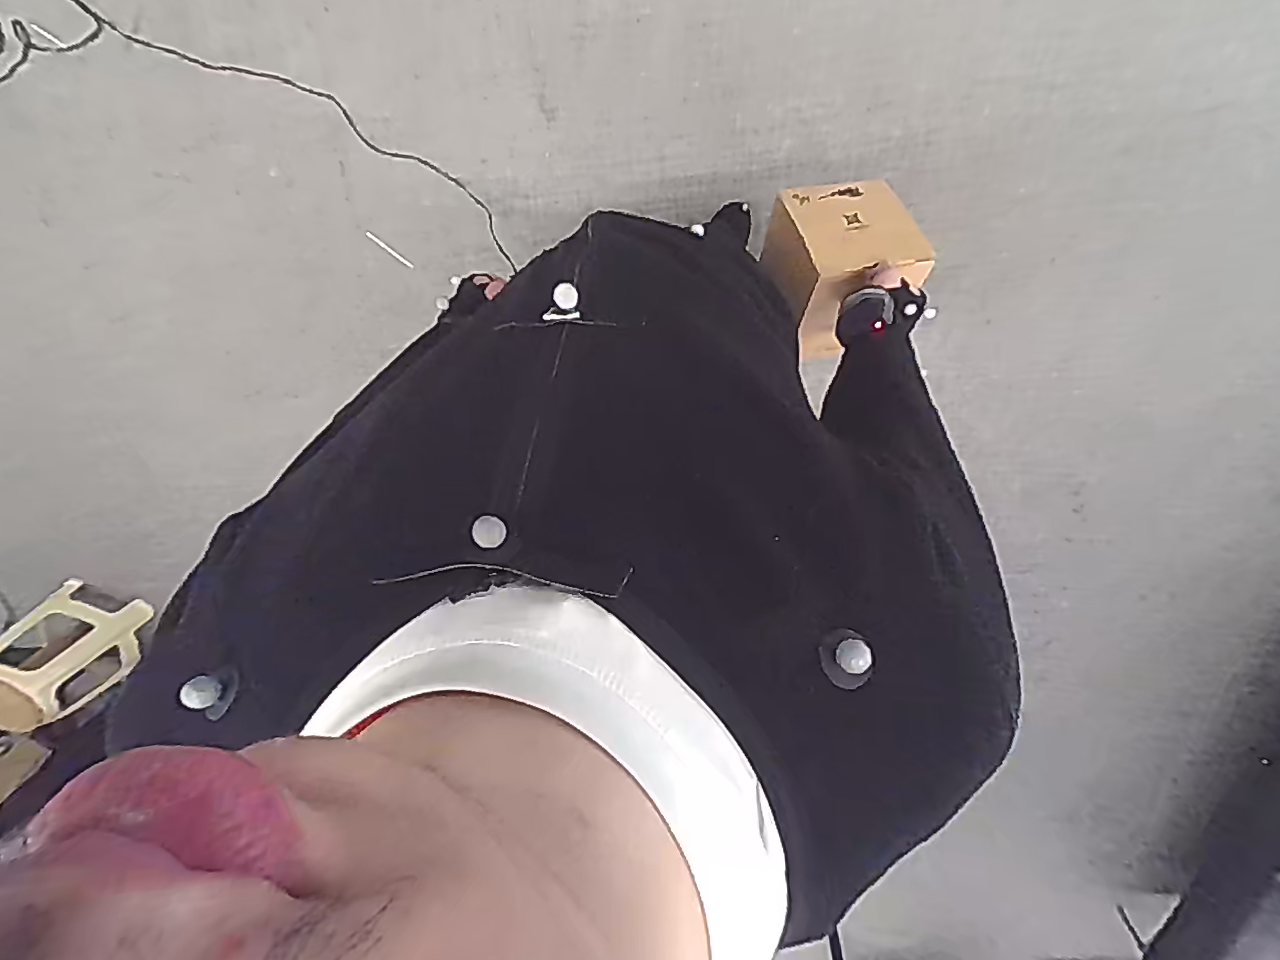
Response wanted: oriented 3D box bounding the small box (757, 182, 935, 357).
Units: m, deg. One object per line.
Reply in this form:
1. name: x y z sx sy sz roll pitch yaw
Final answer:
1. small box: 0.292 -0.304 0.810 0.168 0.179 0.176 -13 154 -7
